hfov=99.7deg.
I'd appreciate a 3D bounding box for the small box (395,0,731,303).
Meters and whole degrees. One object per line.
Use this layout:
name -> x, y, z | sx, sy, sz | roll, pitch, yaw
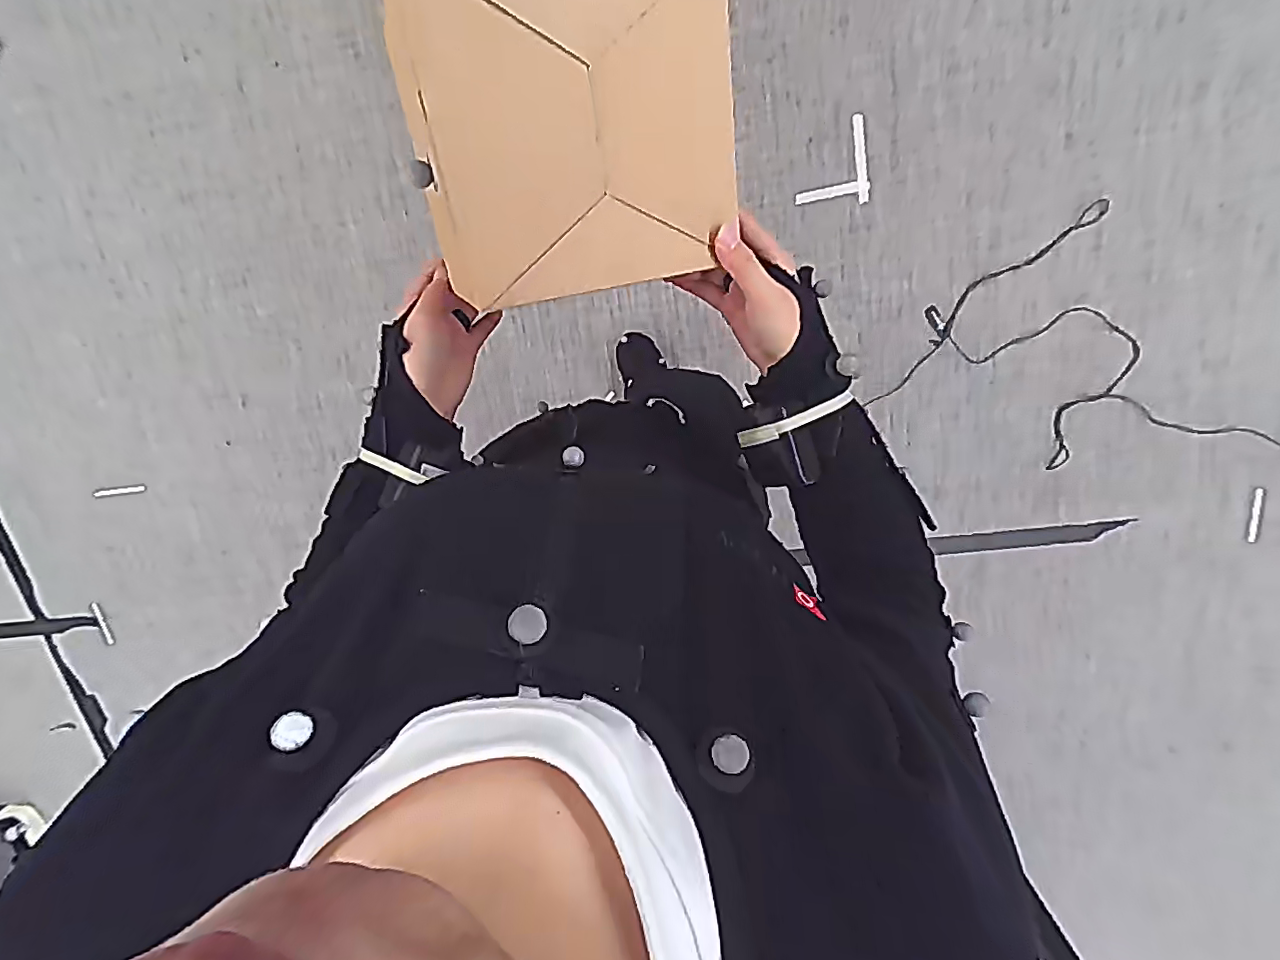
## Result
small box -> -0.053, -0.224, 0.374 | 0.179, 0.176, 0.168 | -17, 117, -18
